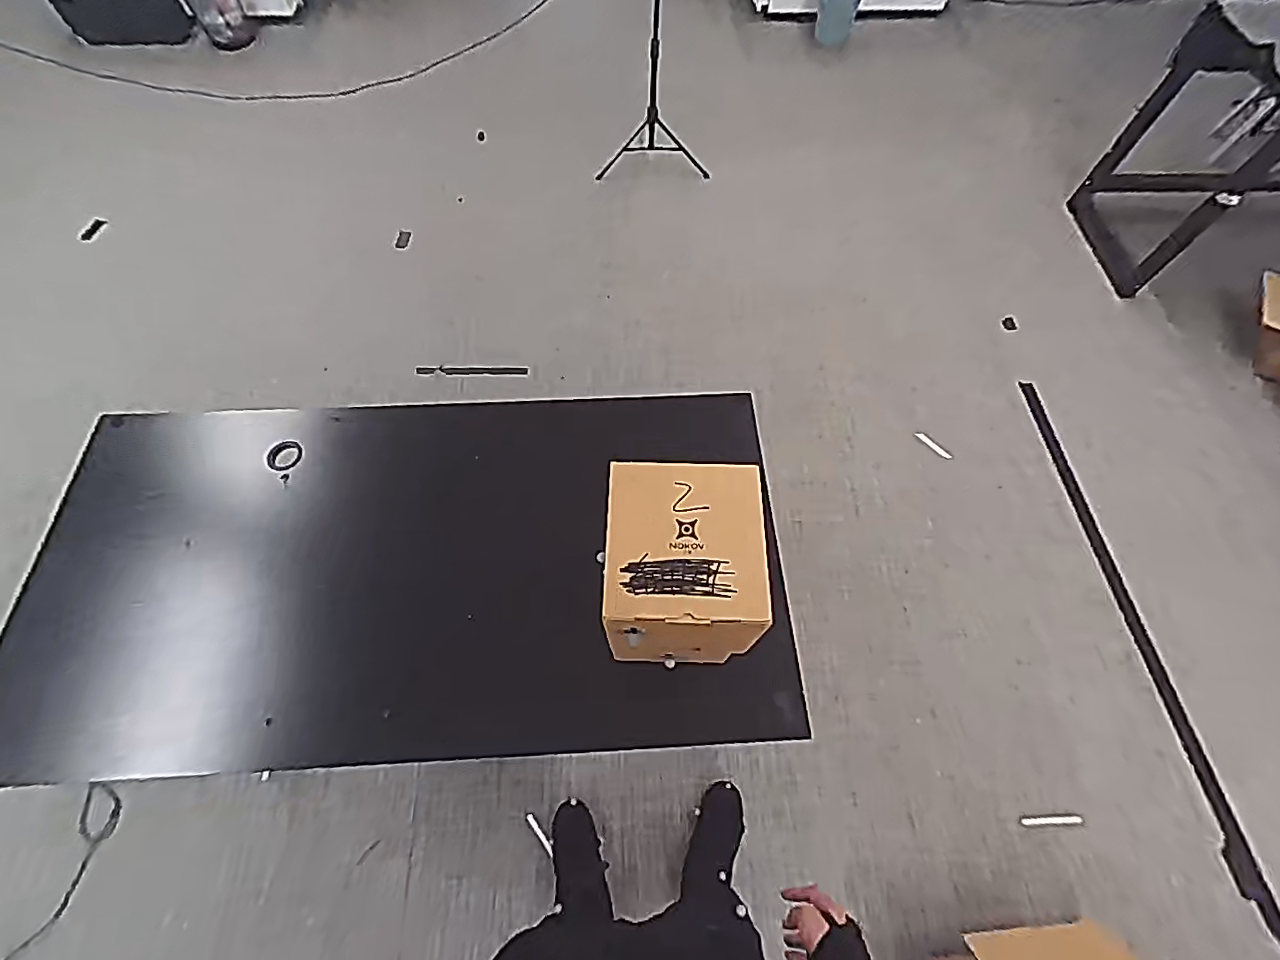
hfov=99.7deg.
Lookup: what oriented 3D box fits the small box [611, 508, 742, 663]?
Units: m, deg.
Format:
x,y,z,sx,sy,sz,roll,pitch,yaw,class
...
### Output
x,y,z,sx,sy,sz,roll,pitch,yaw,class
0.048,0.155,0.774,0.168,0.176,0.179,2,63,1,small box
